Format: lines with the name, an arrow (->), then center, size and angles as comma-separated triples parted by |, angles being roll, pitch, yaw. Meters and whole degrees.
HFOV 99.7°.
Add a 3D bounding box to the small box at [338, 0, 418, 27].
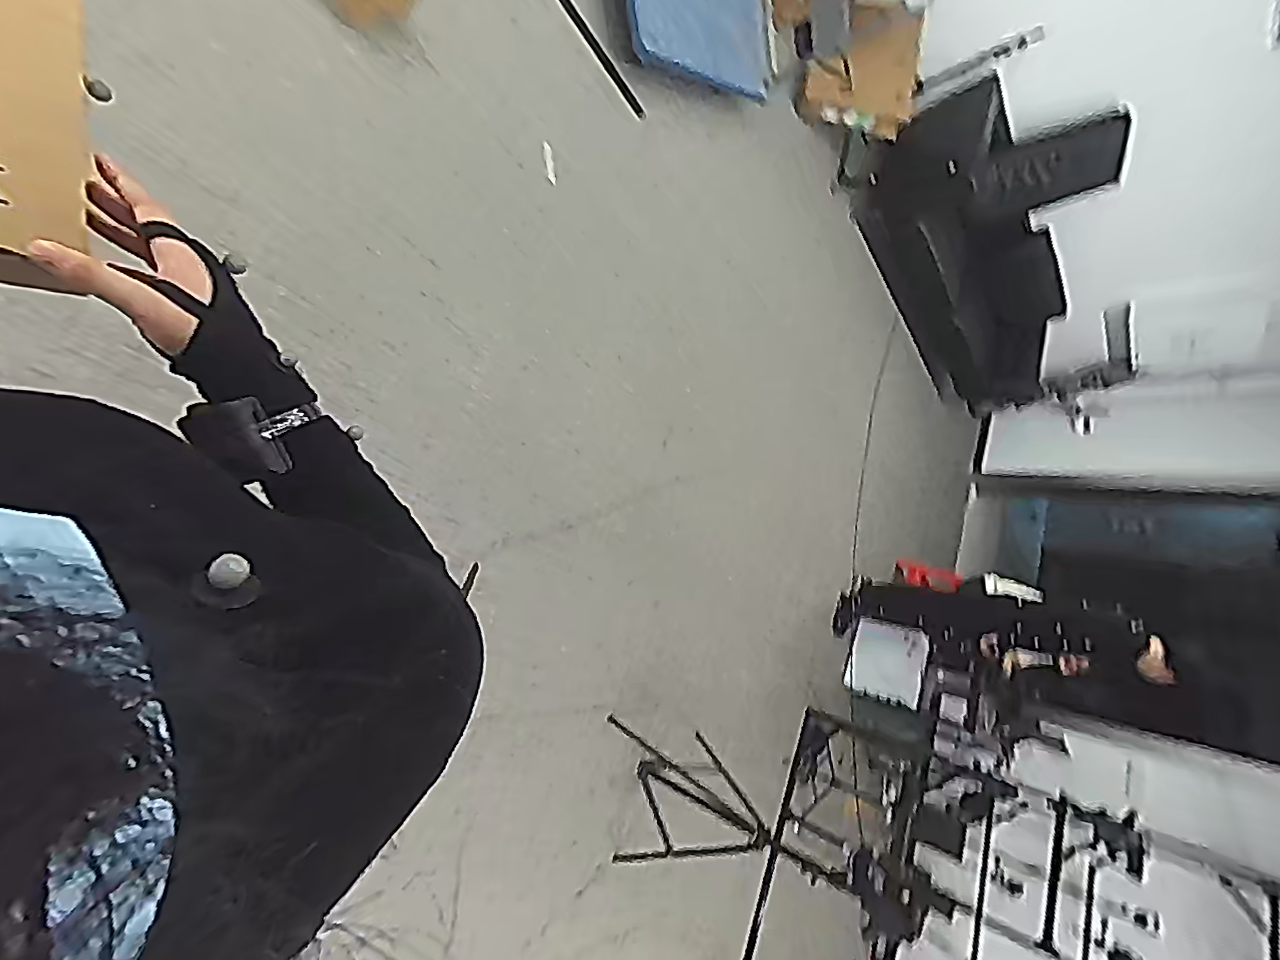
small box -> -0.666, -1.270, 1.332 | 0.168, 0.176, 0.179 | -46, 123, -34
